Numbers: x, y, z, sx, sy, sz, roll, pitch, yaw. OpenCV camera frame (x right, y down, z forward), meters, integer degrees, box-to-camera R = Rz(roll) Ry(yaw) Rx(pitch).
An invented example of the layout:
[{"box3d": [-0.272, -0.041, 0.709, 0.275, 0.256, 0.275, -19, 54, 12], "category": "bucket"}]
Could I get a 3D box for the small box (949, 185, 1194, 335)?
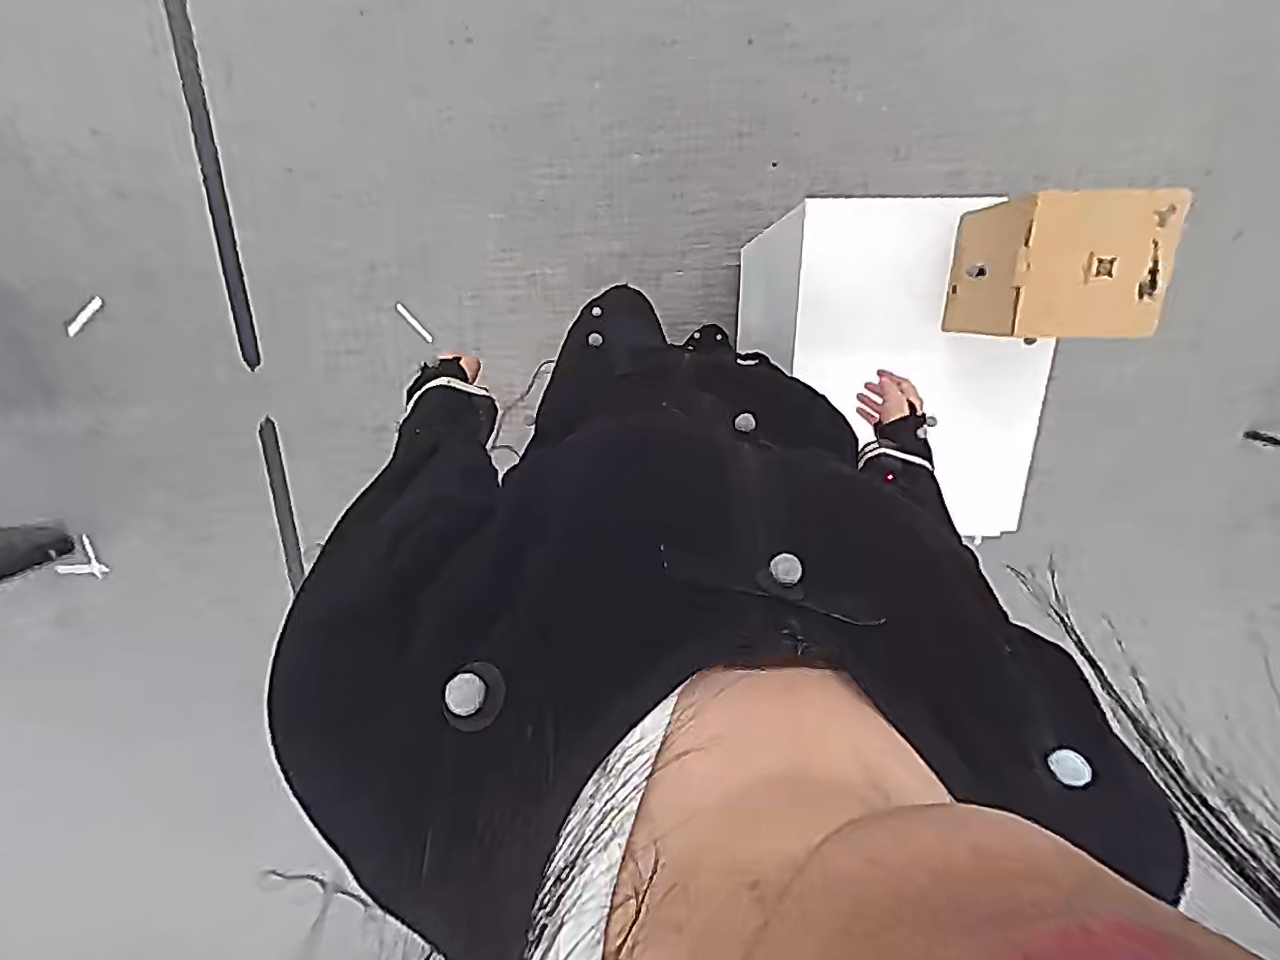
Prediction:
[{"box3d": [0.542, -0.280, 0.713, 0.179, 0.176, 0.168, 1, 108, 3], "category": "small box"}]
